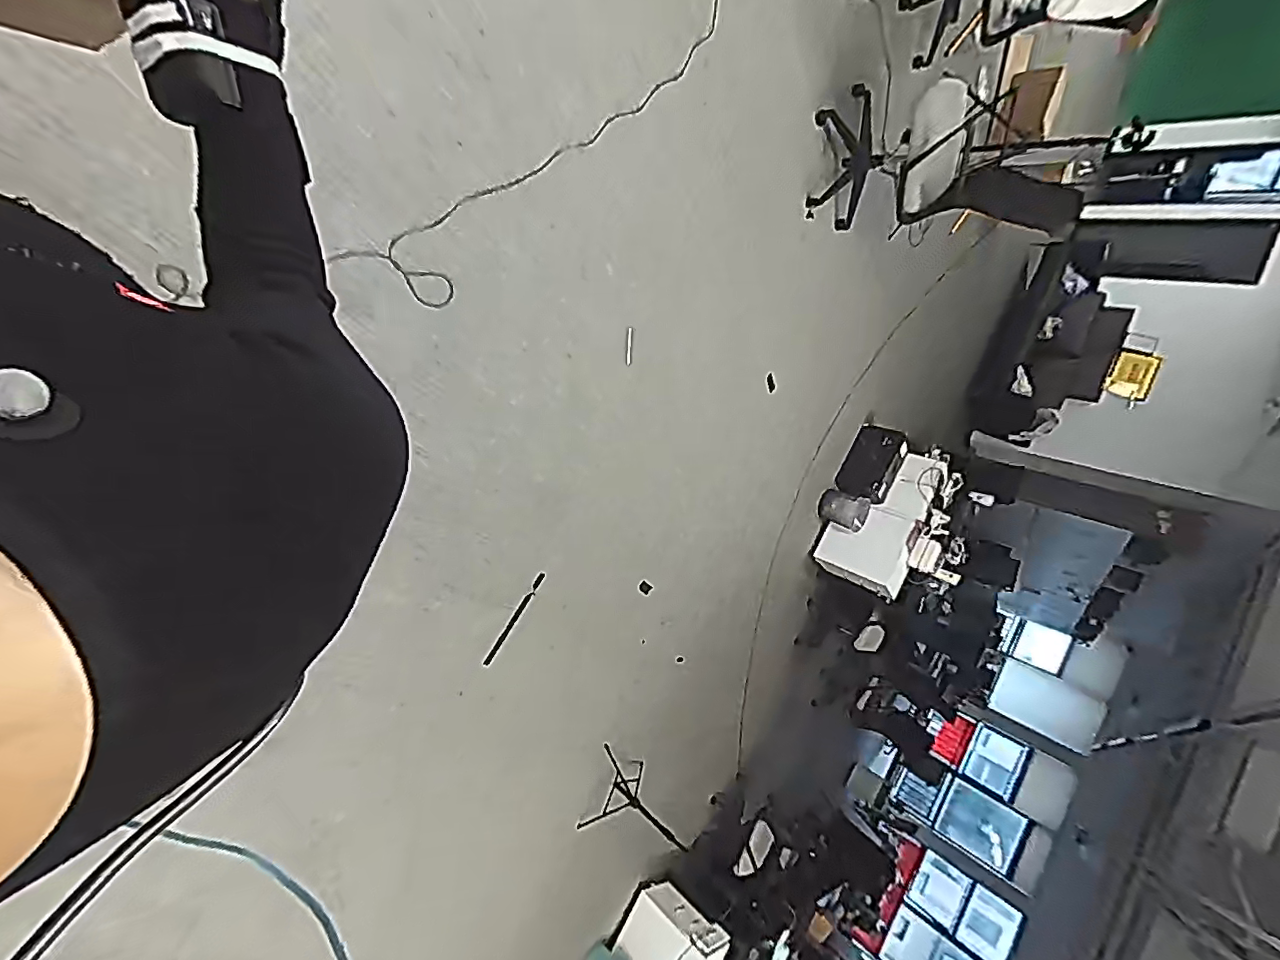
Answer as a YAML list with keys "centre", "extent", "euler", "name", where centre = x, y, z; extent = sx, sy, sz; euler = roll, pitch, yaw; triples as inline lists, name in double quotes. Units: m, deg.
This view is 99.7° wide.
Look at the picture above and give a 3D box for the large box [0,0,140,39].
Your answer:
- centre: [-0.544, -0.487, 0.256]
  extent: [0.408, 0.320, 0.320]
  euler: [-19, 124, -48]
  name: "large box"
